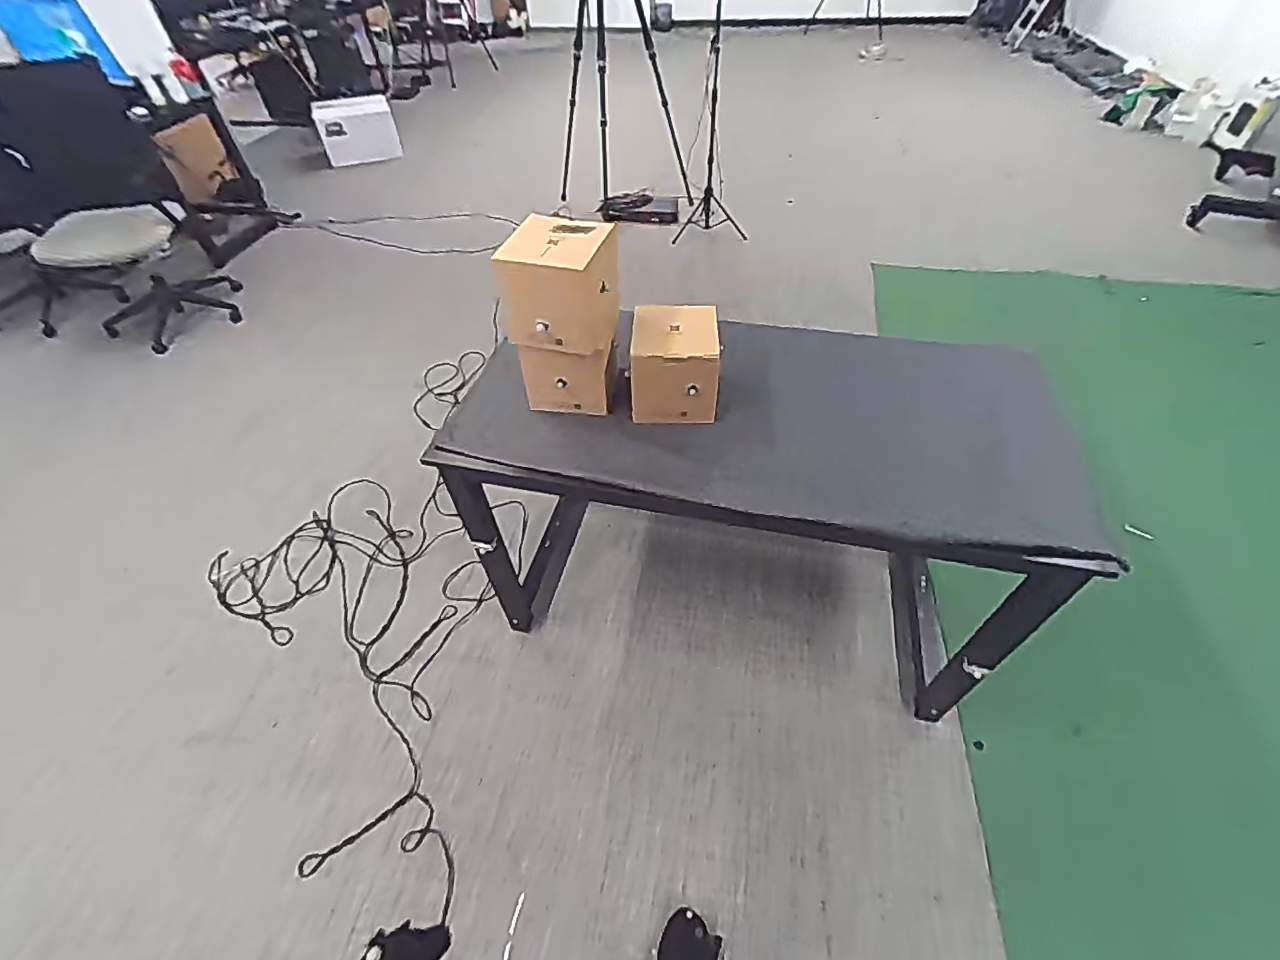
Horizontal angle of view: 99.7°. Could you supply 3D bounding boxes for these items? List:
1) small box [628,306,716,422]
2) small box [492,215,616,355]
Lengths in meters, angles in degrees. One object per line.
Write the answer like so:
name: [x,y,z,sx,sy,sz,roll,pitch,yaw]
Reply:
small box: [0.064,-0.233,1.094,0.168,0.176,0.179,2,48,2]
small box: [-0.145,-0.356,0.987,0.168,0.176,0.179,11,50,11]
